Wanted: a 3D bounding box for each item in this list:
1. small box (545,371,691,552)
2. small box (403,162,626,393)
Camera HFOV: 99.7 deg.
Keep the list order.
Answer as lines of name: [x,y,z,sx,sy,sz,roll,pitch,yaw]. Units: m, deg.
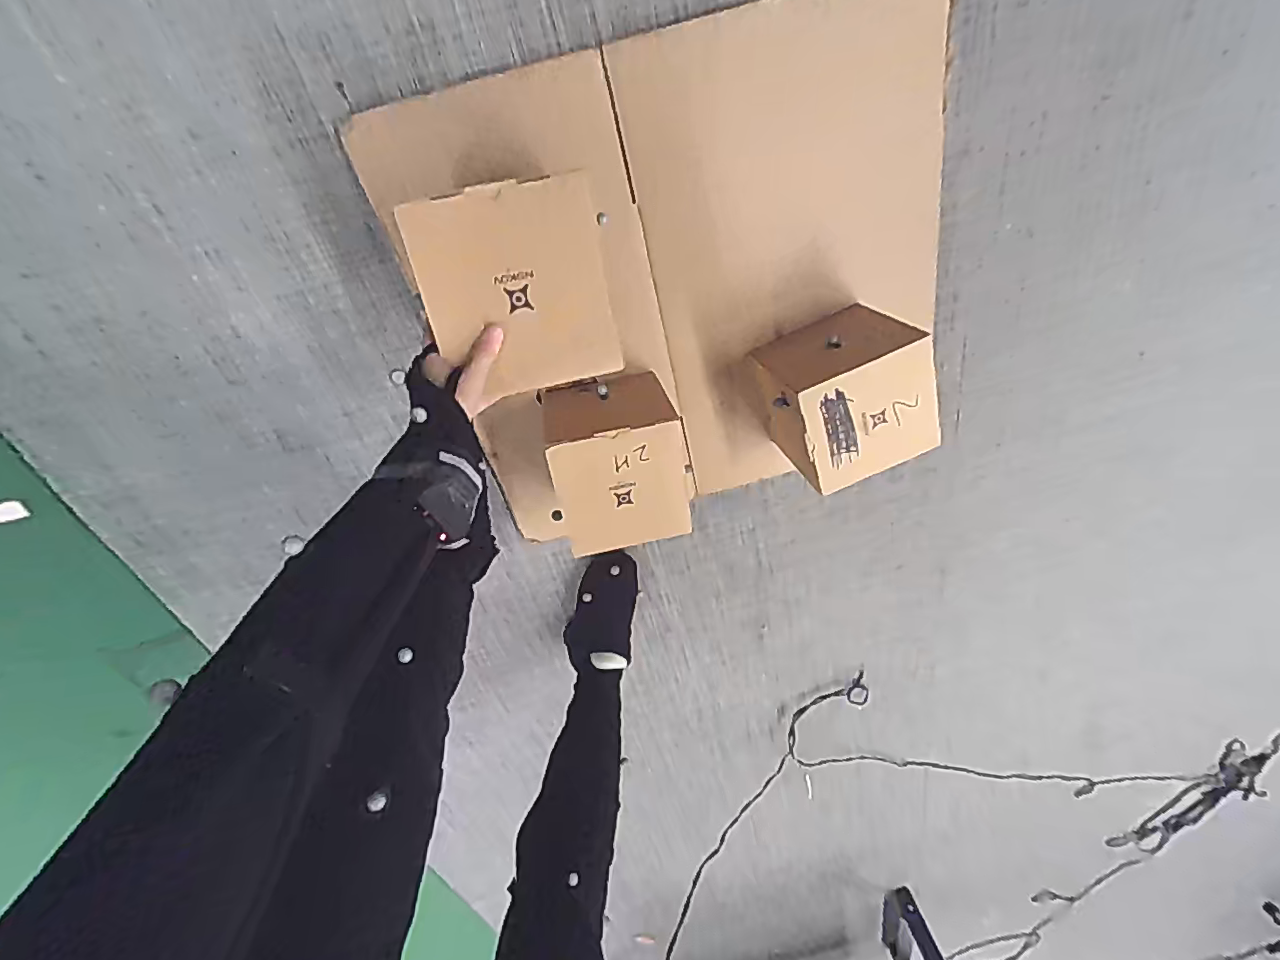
small box: [-0.032,-0.031,0.748,0.168,0.176,0.179,-12,121,-4]
small box: [-0.116,-0.205,0.560,0.168,0.176,0.179,-13,112,-5]
